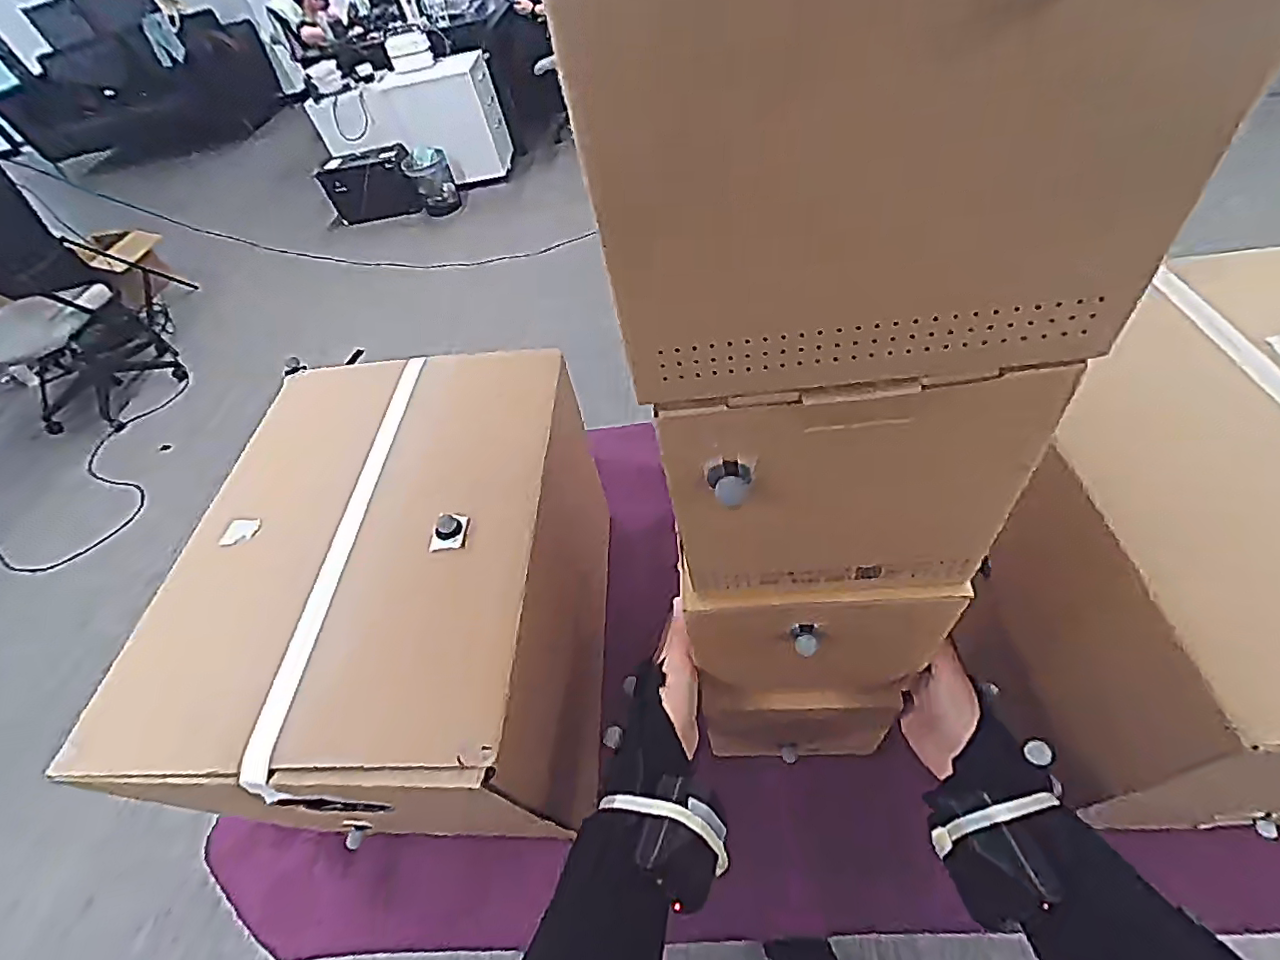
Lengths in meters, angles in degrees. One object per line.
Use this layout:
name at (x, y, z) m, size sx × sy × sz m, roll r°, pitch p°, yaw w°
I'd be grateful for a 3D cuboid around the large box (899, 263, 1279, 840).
large box at (0.476, 0.067, 0.490) m, size 0.320 × 0.320 × 0.408 m, roll -5°, pitch 50°, yaw 7°
